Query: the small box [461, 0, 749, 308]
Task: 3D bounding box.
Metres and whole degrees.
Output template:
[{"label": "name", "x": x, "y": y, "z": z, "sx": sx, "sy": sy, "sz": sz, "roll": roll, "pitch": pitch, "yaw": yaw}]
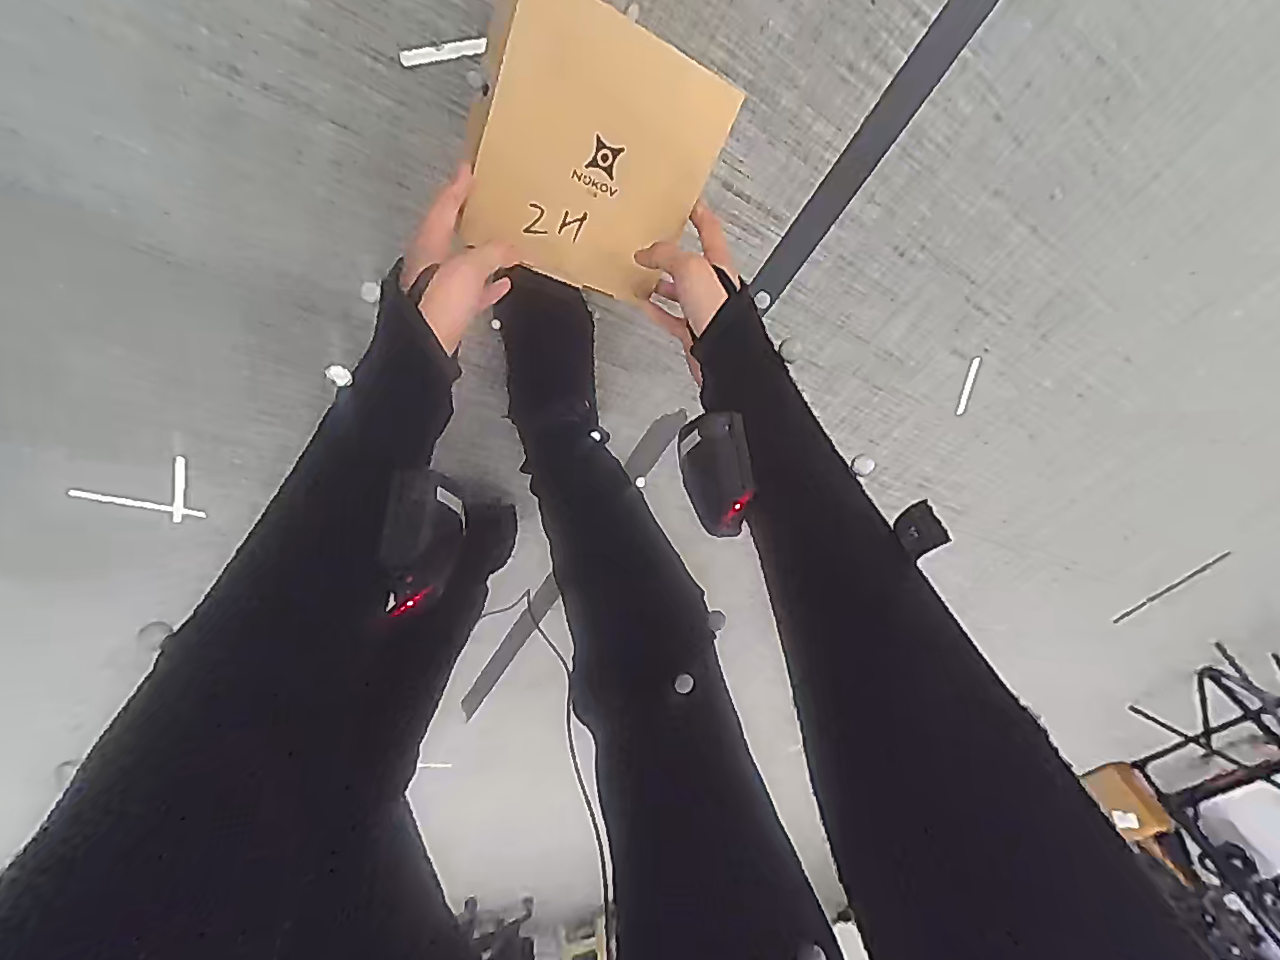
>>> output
[{"label": "small box", "x": -0.048, "y": -0.281, "z": 0.449, "sx": 0.168, "sy": 0.176, "sz": 0.179, "roll": 12, "pitch": 127, "yaw": -28}]
